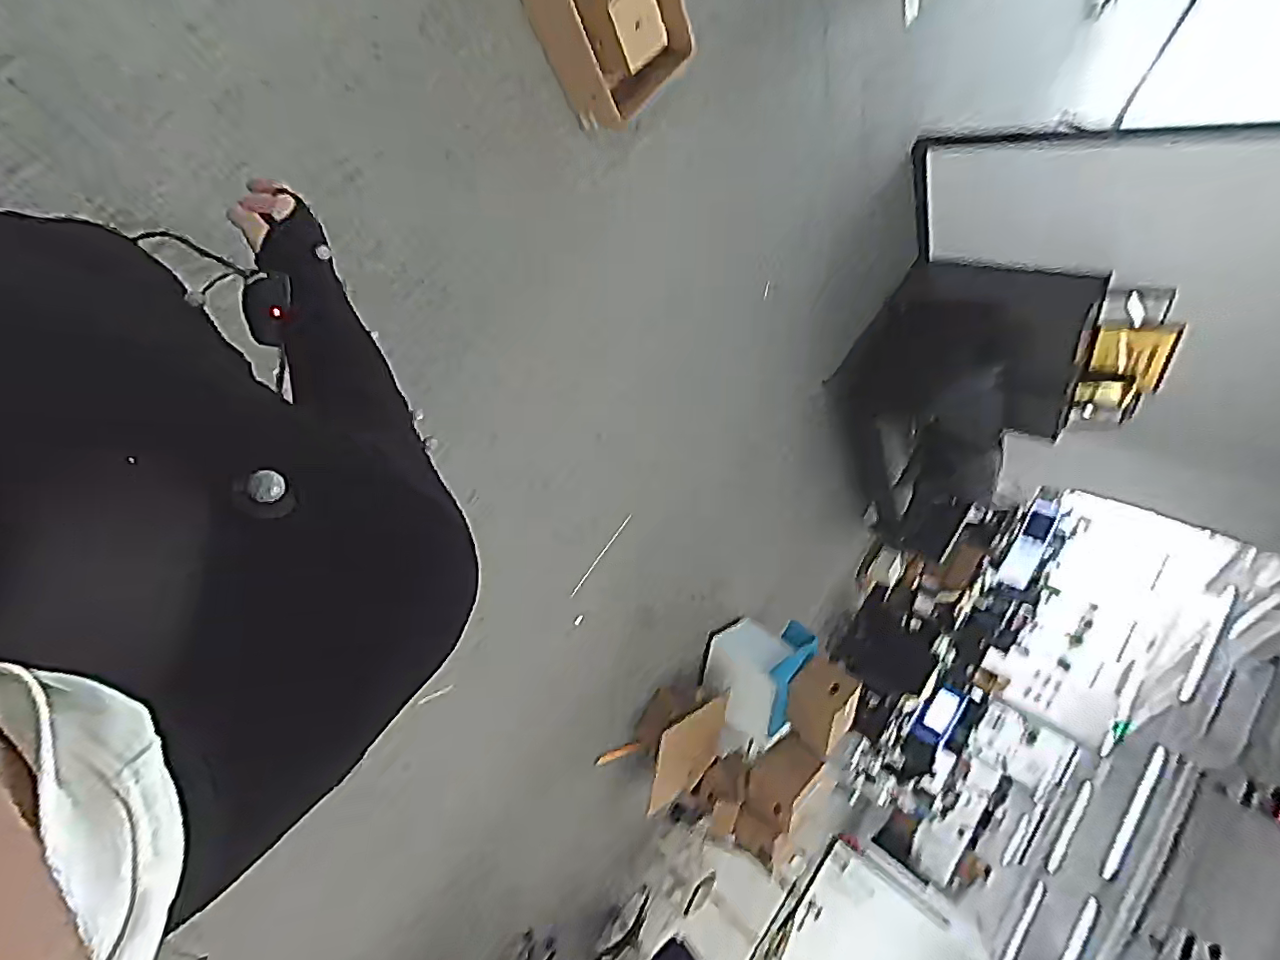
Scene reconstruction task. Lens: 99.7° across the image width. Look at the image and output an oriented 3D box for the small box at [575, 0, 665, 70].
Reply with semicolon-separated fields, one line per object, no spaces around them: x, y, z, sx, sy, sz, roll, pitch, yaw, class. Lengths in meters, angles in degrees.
-0.065;-1.325;1.562;0.179;0.176;0.168;-51;139;-14;small box
